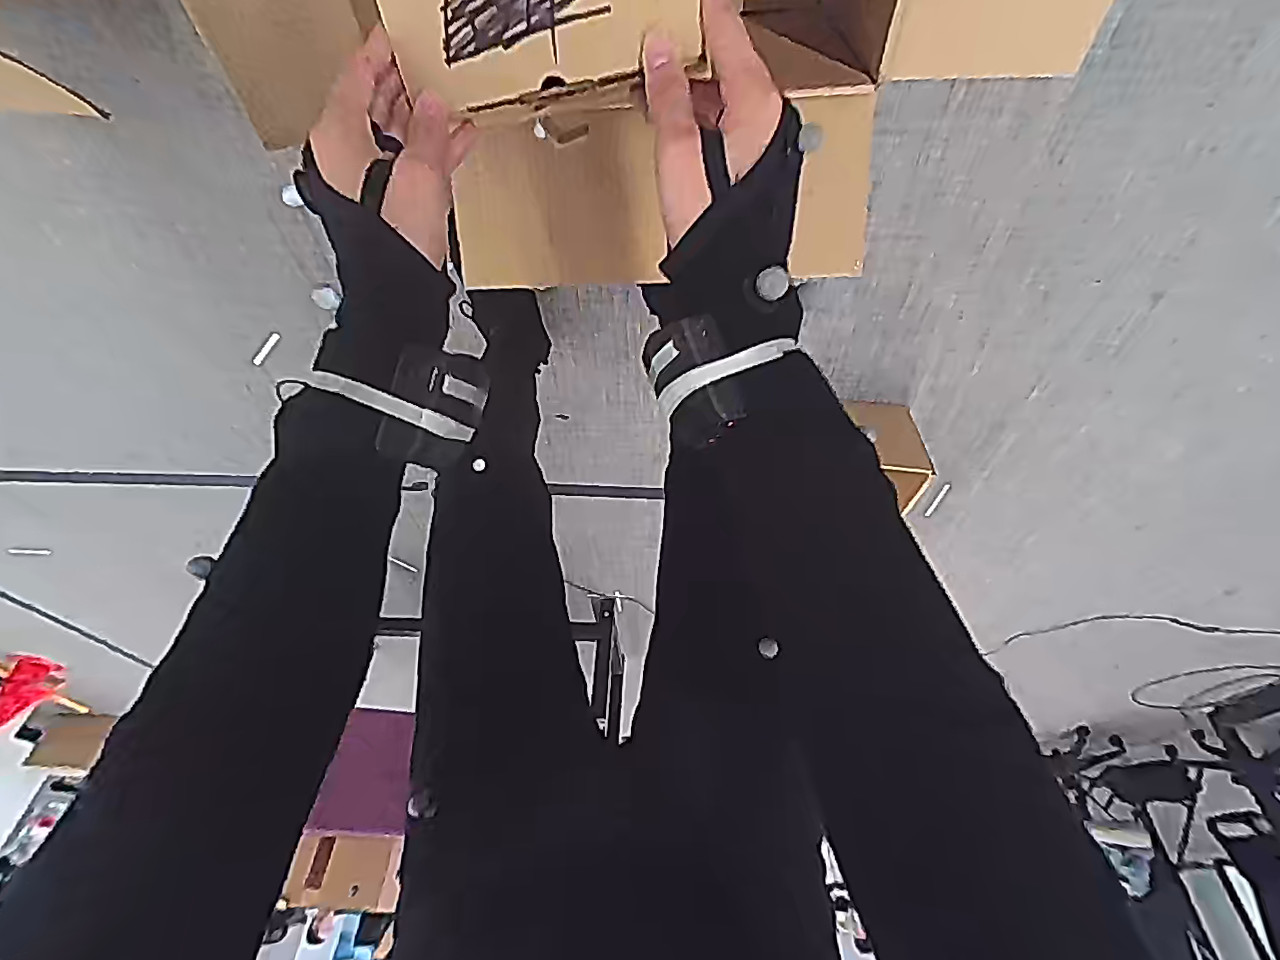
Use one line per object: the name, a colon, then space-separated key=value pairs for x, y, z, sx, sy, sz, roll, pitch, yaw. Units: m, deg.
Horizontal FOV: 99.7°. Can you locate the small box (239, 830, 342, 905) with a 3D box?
small box: x=-1.028 y=1.149 z=1.606 sx=0.168 sy=0.176 sz=0.179 roll=3 pitch=142 yaw=3
